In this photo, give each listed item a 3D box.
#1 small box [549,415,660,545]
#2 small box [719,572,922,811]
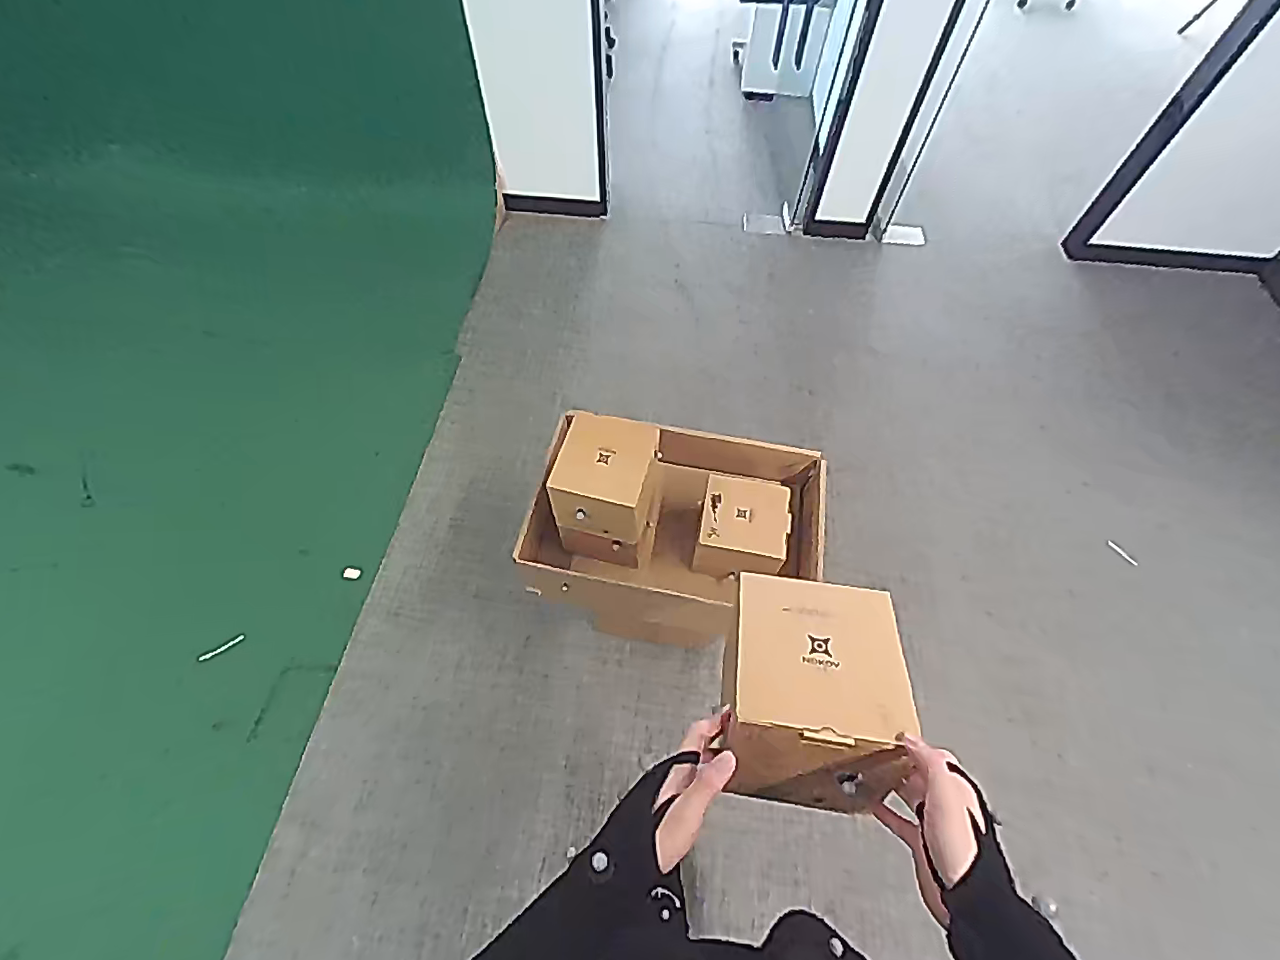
[{"bbox_3d":[-0.061,0.005,1.045,0.168,0.176,0.179,13,60,7],"label":"small box"},{"bbox_3d":[0.181,0.231,0.592,0.168,0.176,0.179,8,41,8],"label":"small box"}]
